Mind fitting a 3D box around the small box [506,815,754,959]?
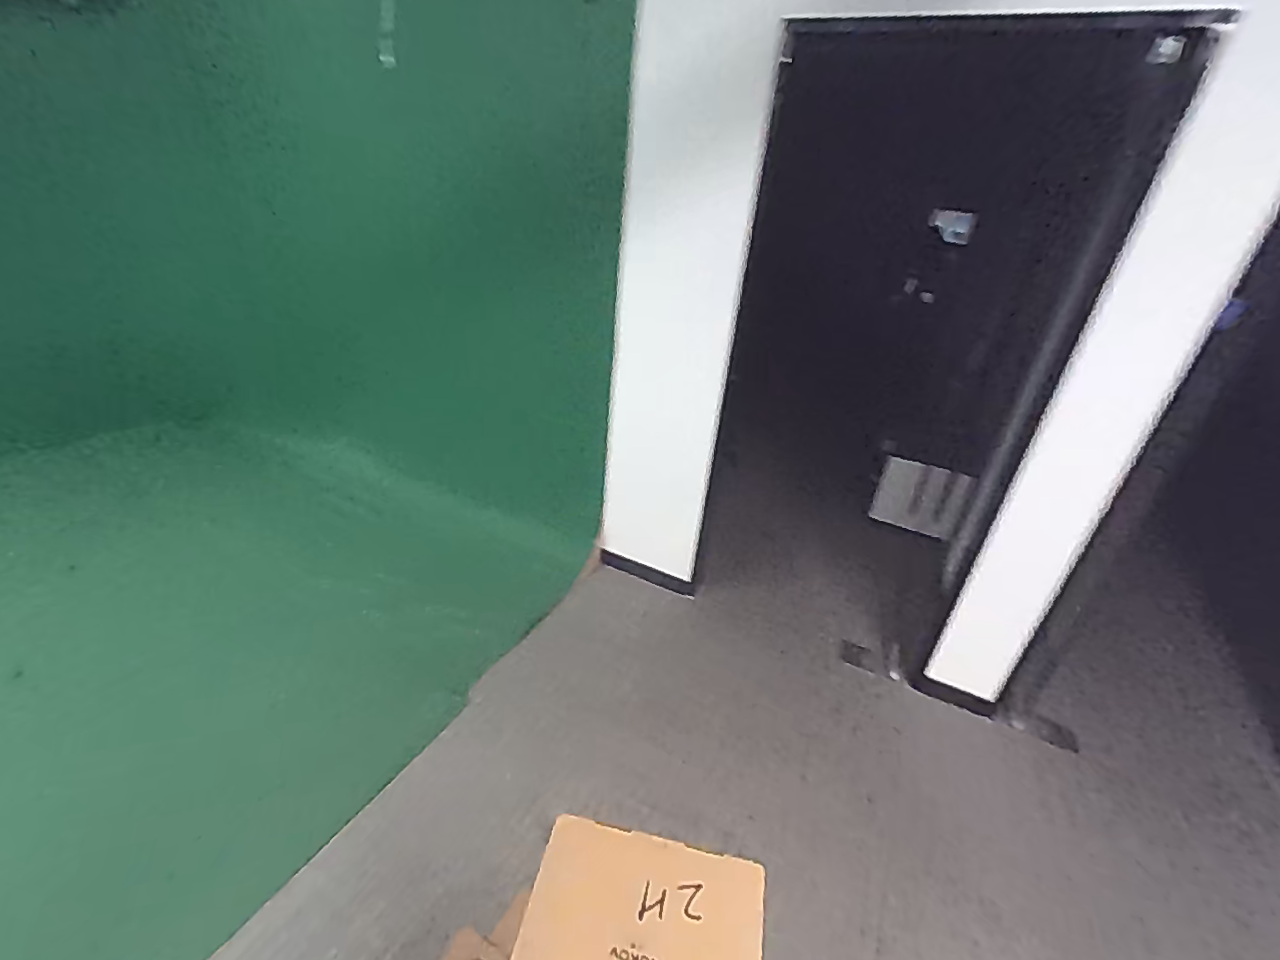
[{"bbox_3d":[-0.013,0.402,0.410,0.168,0.176,0.179,10,37,10],"label":"small box"}]
